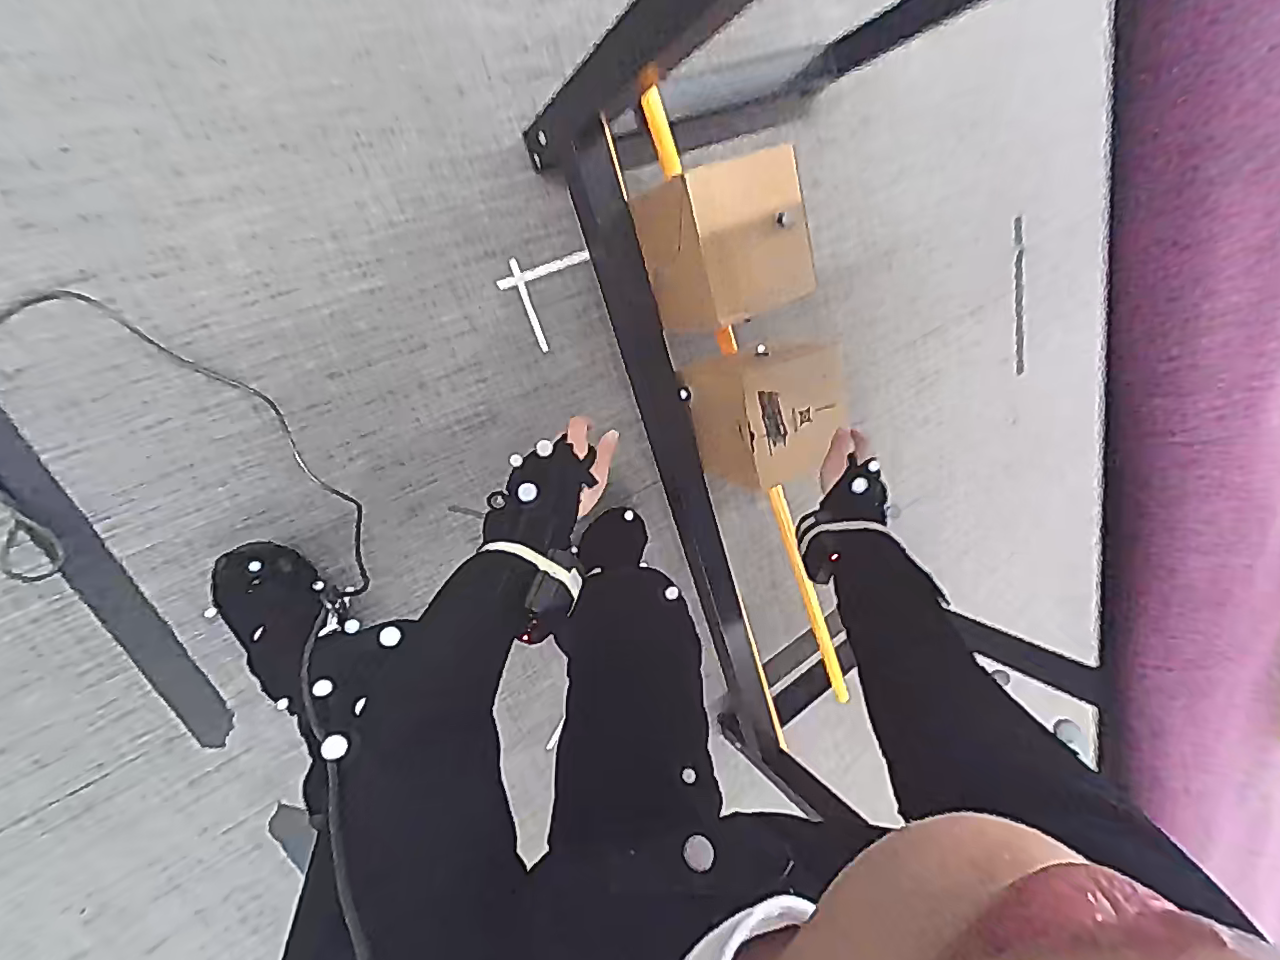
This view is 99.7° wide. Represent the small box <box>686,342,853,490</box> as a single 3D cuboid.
[{"bbox_3d":[0.183,-0.102,0.800,0.179,0.176,0.168,-21,111,-23],"label":"small box"}]
